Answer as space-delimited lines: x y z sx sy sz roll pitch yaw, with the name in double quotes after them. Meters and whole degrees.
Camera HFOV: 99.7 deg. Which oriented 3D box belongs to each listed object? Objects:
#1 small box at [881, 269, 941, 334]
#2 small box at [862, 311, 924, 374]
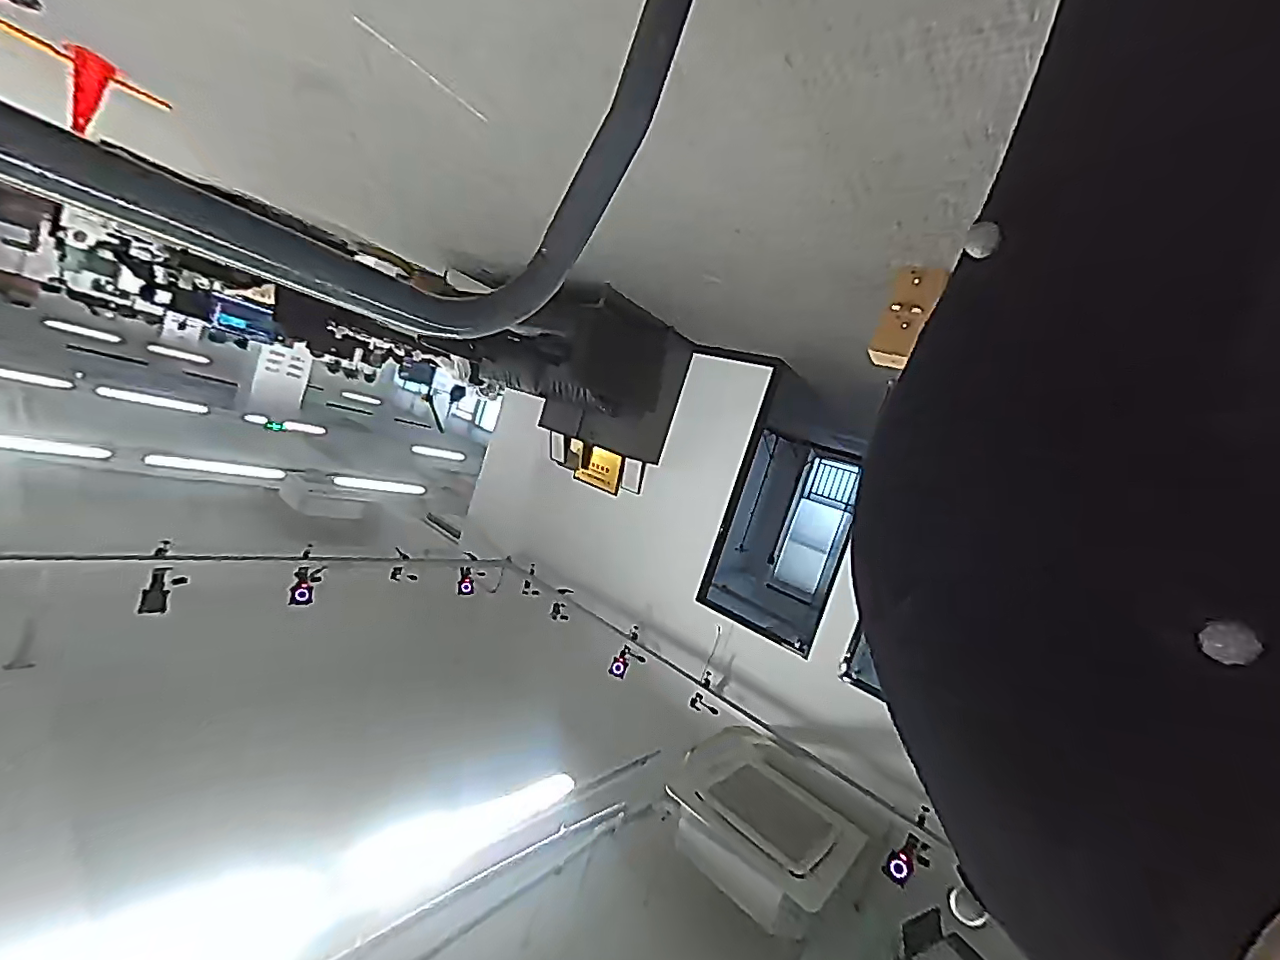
1.025 -0.676 2.049 0.168 0.176 0.179 18 -177 24 "small box"
0.970 -0.526 2.068 0.168 0.176 0.179 22 -175 30 "small box"
